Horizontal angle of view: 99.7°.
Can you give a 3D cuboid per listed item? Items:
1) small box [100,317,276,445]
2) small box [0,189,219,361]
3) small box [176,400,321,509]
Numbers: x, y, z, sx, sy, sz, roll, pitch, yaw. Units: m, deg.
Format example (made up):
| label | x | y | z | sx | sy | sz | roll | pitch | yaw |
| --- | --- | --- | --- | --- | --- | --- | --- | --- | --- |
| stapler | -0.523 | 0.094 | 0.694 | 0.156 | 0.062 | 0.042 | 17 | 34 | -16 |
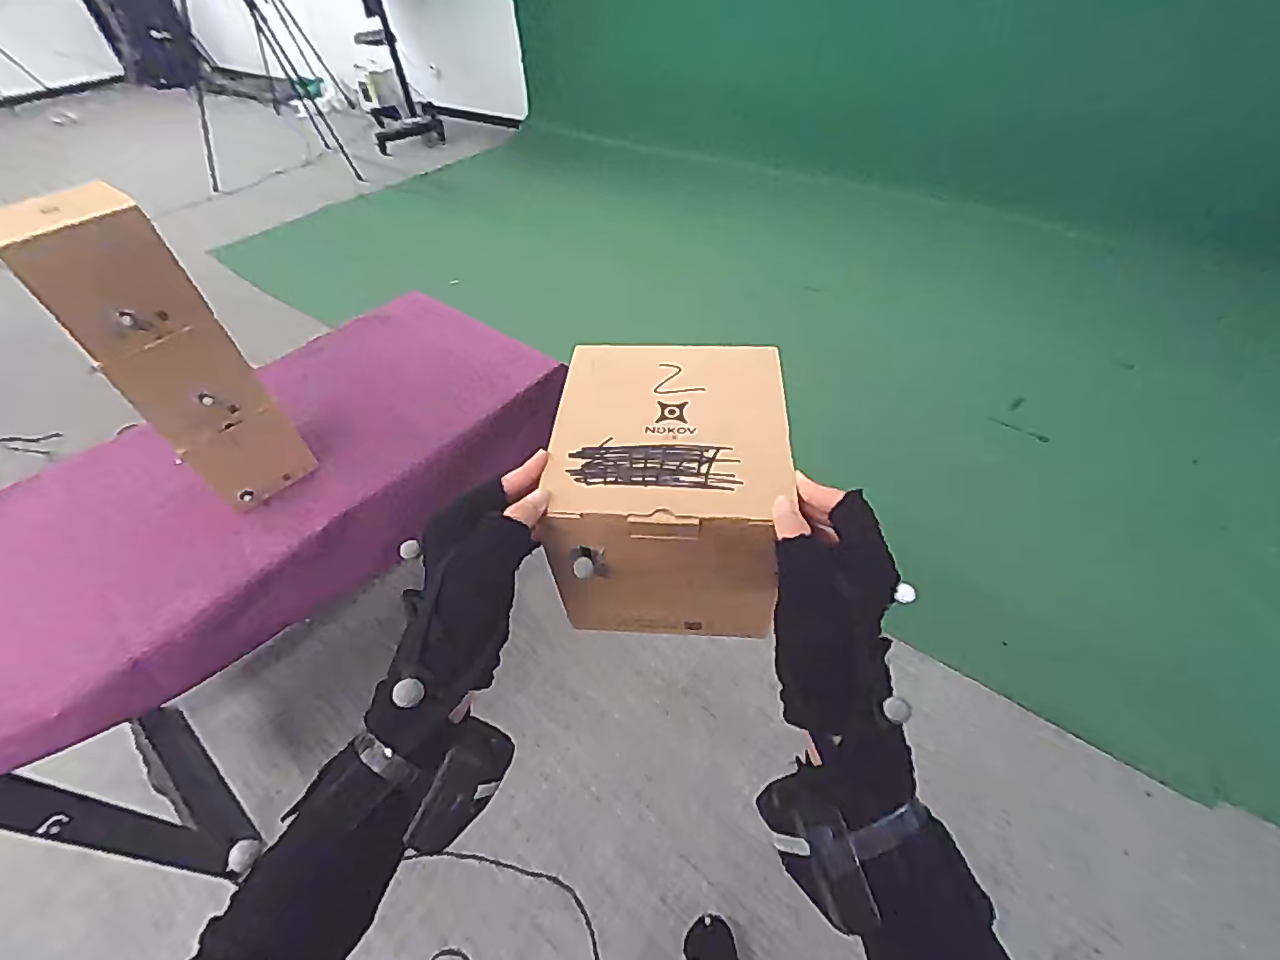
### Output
| label | x | y | z | sx | sy | sz | roll | pitch | yaw |
| --- | --- | --- | --- | --- | --- | --- | --- | --- | --- |
| small box | -0.767 | -0.186 | 0.911 | 0.179 | 0.176 | 0.168 | 31 | 56 | 28 |
| small box | -0.778 | -0.300 | 0.794 | 0.179 | 0.176 | 0.168 | 30 | 56 | 28 |
| small box | -0.753 | -0.071 | 1.027 | 0.179 | 0.176 | 0.168 | 30 | 55 | 29 |
